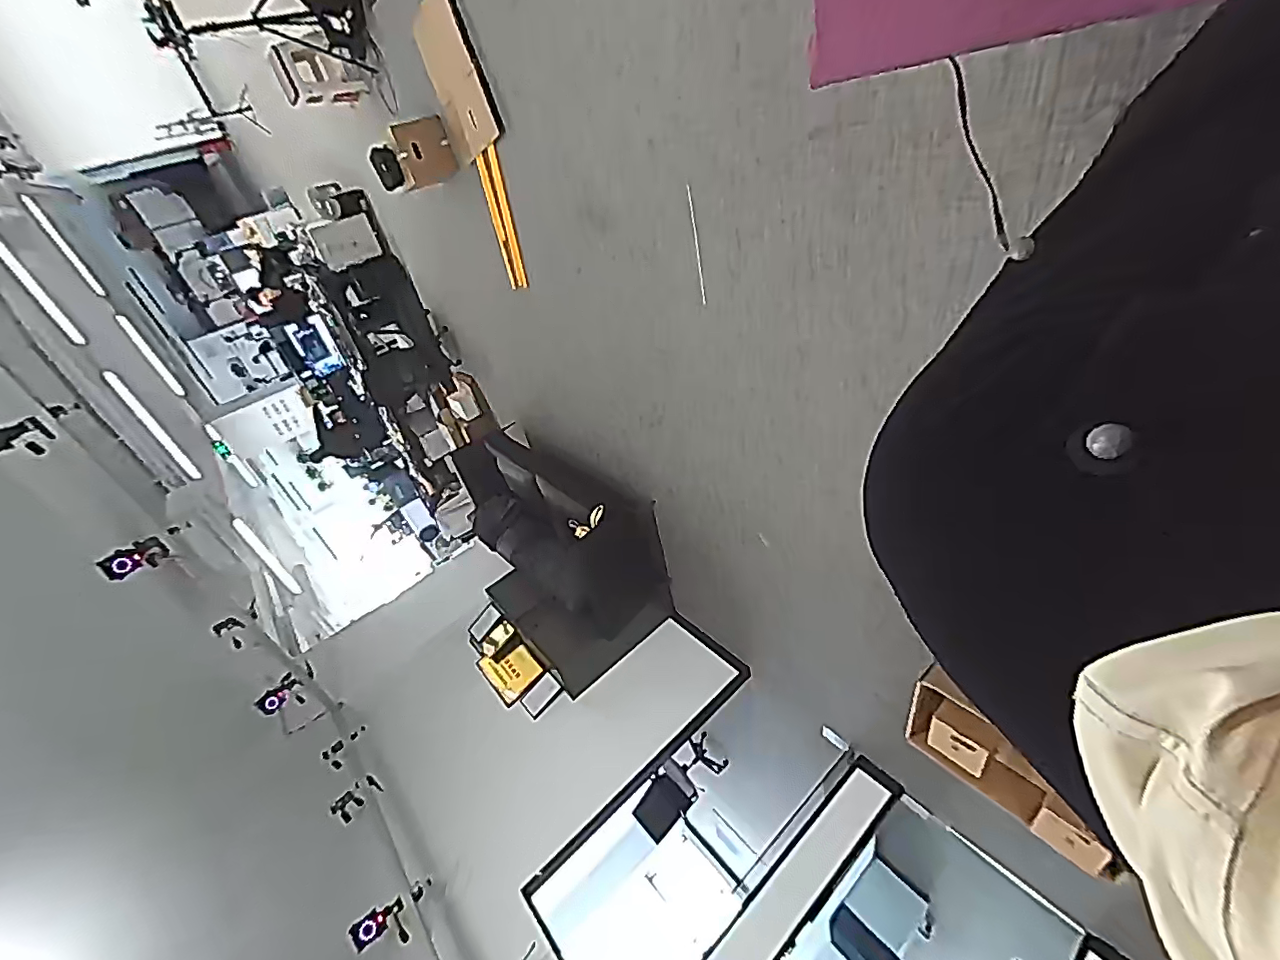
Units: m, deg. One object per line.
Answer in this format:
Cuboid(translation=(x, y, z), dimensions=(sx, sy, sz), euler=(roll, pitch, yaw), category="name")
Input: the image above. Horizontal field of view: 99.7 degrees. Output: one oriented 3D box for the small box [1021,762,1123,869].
Cuboid(translation=(1.252, 0.967, 1.567), dimensions=(0.168, 0.176, 0.179), euler=(31, 145, 41), category="small box")
